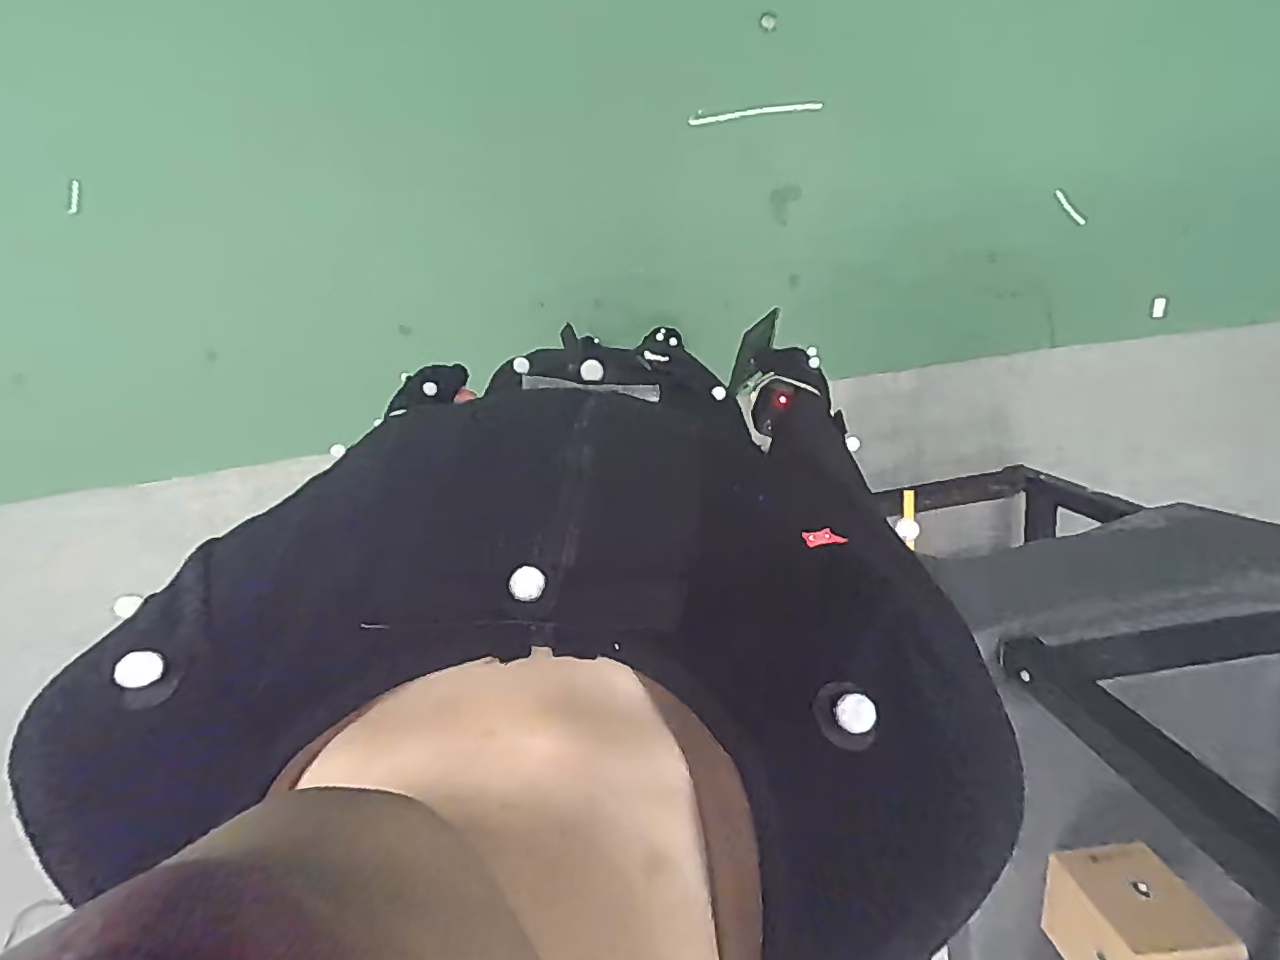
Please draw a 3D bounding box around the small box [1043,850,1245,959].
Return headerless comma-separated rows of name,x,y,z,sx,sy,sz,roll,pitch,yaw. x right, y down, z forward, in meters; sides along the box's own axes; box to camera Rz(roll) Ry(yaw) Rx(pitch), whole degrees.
small box,0.800,0.738,0.880,0.168,0.176,0.179,-6,105,0
